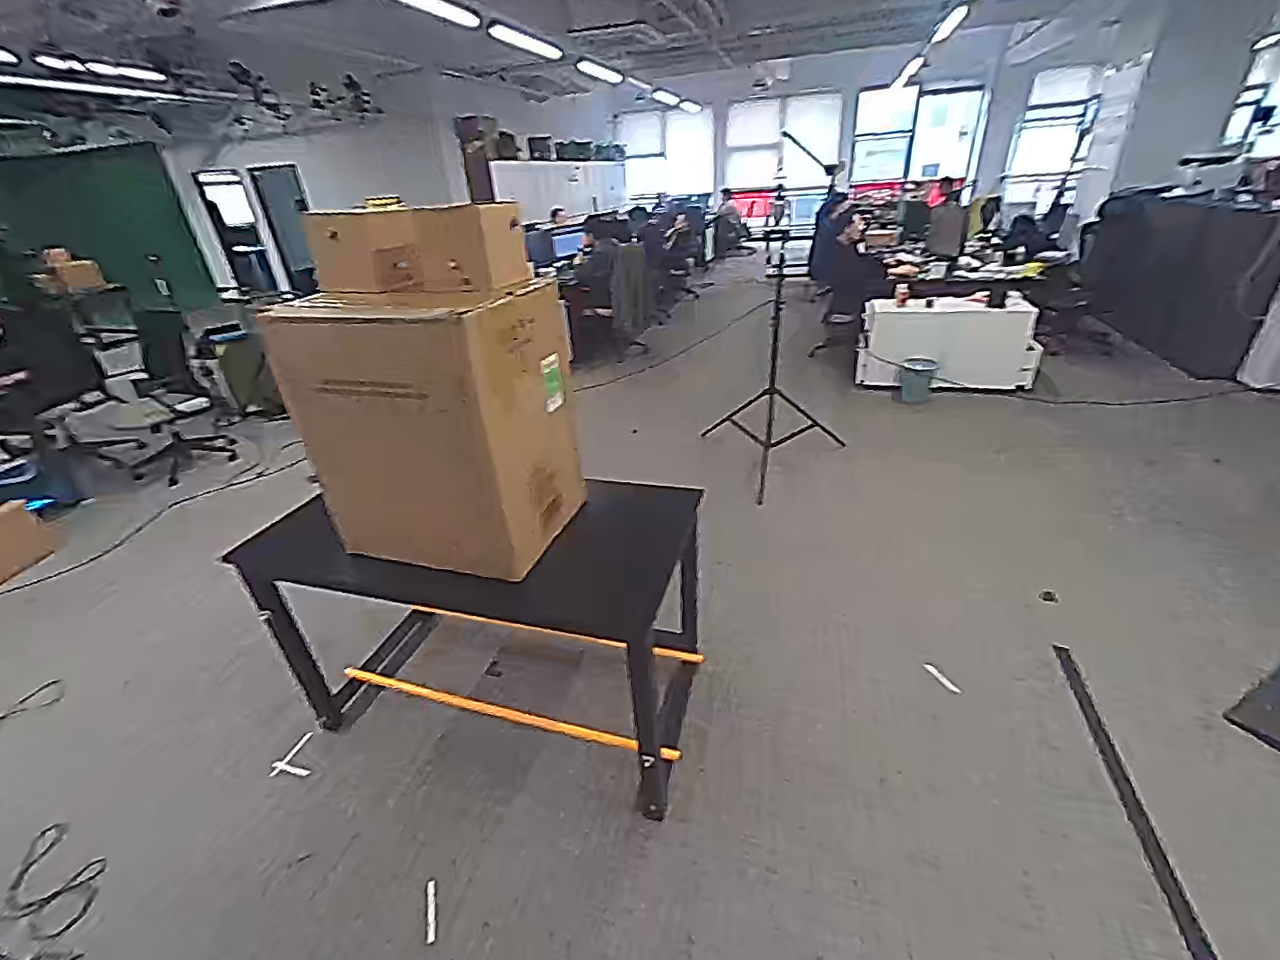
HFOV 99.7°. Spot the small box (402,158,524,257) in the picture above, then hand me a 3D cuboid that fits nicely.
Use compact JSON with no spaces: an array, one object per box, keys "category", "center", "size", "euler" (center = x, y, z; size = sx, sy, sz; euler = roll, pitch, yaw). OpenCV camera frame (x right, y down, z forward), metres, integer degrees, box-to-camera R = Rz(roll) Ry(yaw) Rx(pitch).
[{"category":"small box","center":[-0.355,-0.562,1.123],"size":[0.168,0.176,0.179],"euler":[4,29,16]}]

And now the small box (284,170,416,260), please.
[{"category":"small box","center":[-0.631,-0.584,1.196],"size":[0.179,0.176,0.168],"euler":[8,30,17]}]
